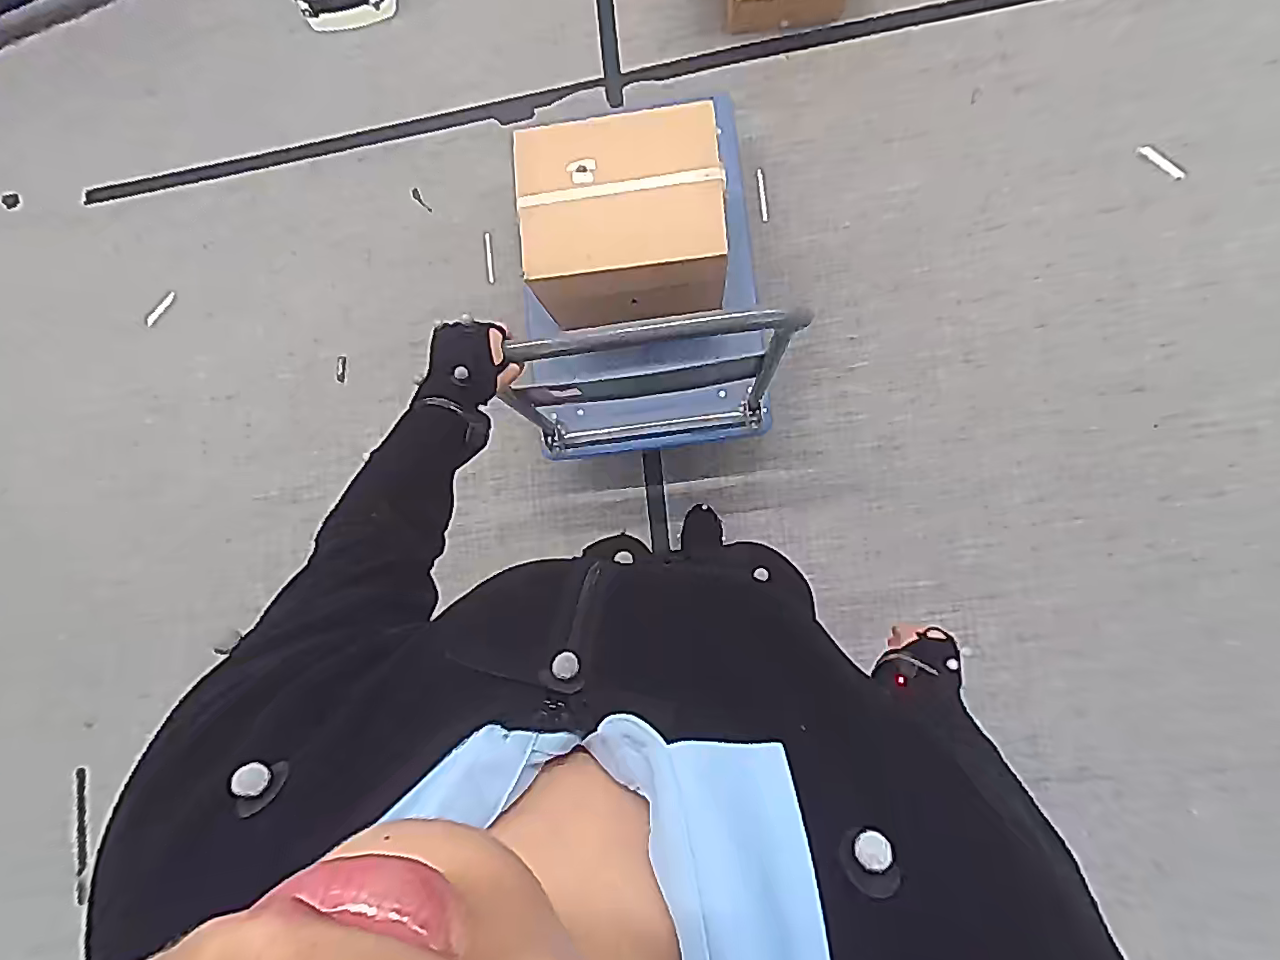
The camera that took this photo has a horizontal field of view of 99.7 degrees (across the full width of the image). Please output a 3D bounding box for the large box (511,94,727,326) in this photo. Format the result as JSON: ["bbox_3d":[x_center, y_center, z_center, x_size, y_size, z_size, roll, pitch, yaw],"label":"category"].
[{"bbox_3d":[-0.029,-0.558,1.190,0.408,0.320,0.320,-5,85,7],"label":"large box"}]
